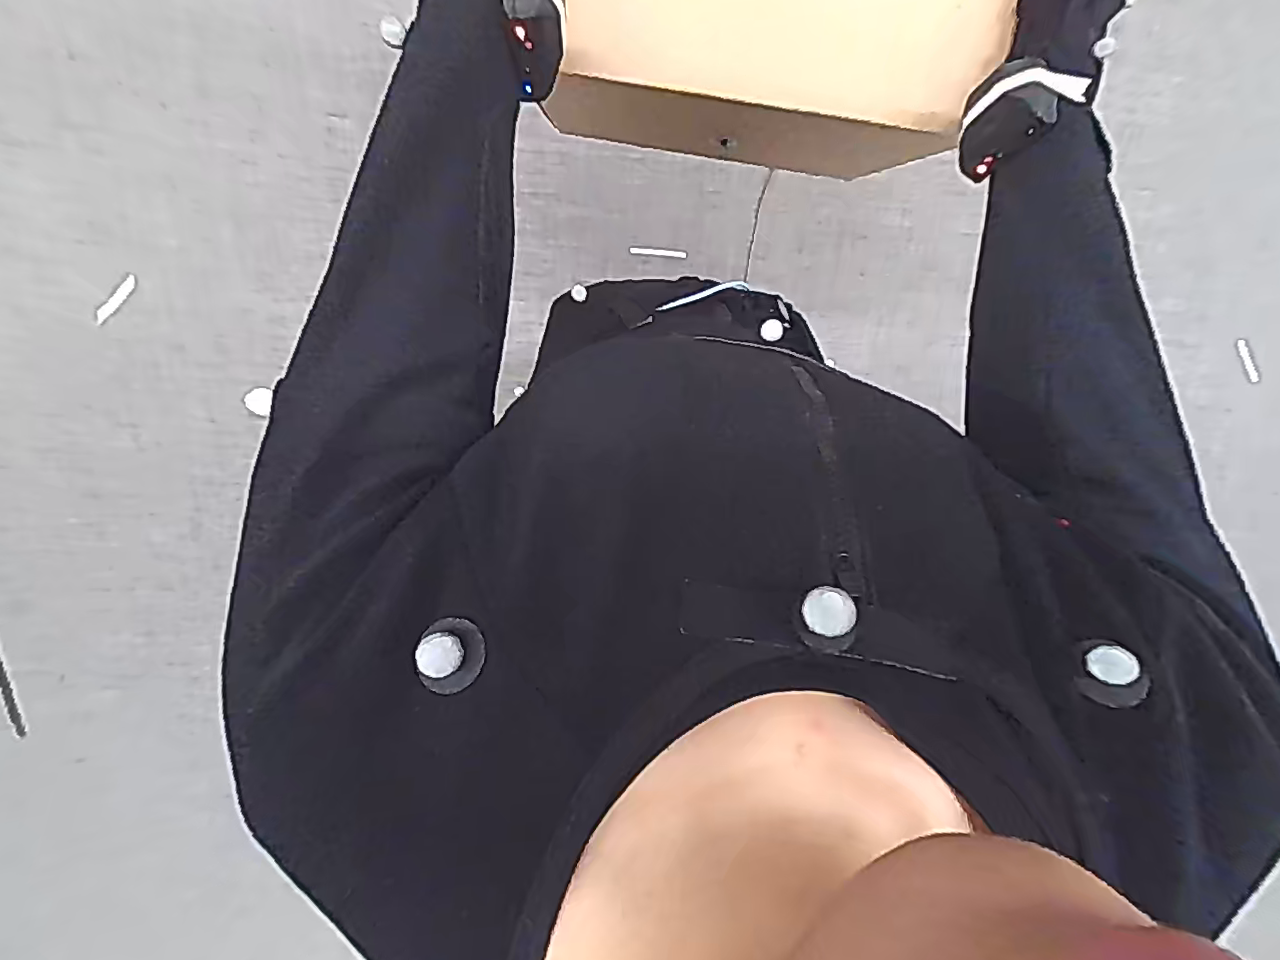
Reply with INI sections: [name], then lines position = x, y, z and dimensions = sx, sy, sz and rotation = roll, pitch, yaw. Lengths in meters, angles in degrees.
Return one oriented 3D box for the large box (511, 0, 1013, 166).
[large box]
position = 0.113, -0.524, 0.531
dimensions = 0.408, 0.320, 0.320
rotation = 8, 112, -3
